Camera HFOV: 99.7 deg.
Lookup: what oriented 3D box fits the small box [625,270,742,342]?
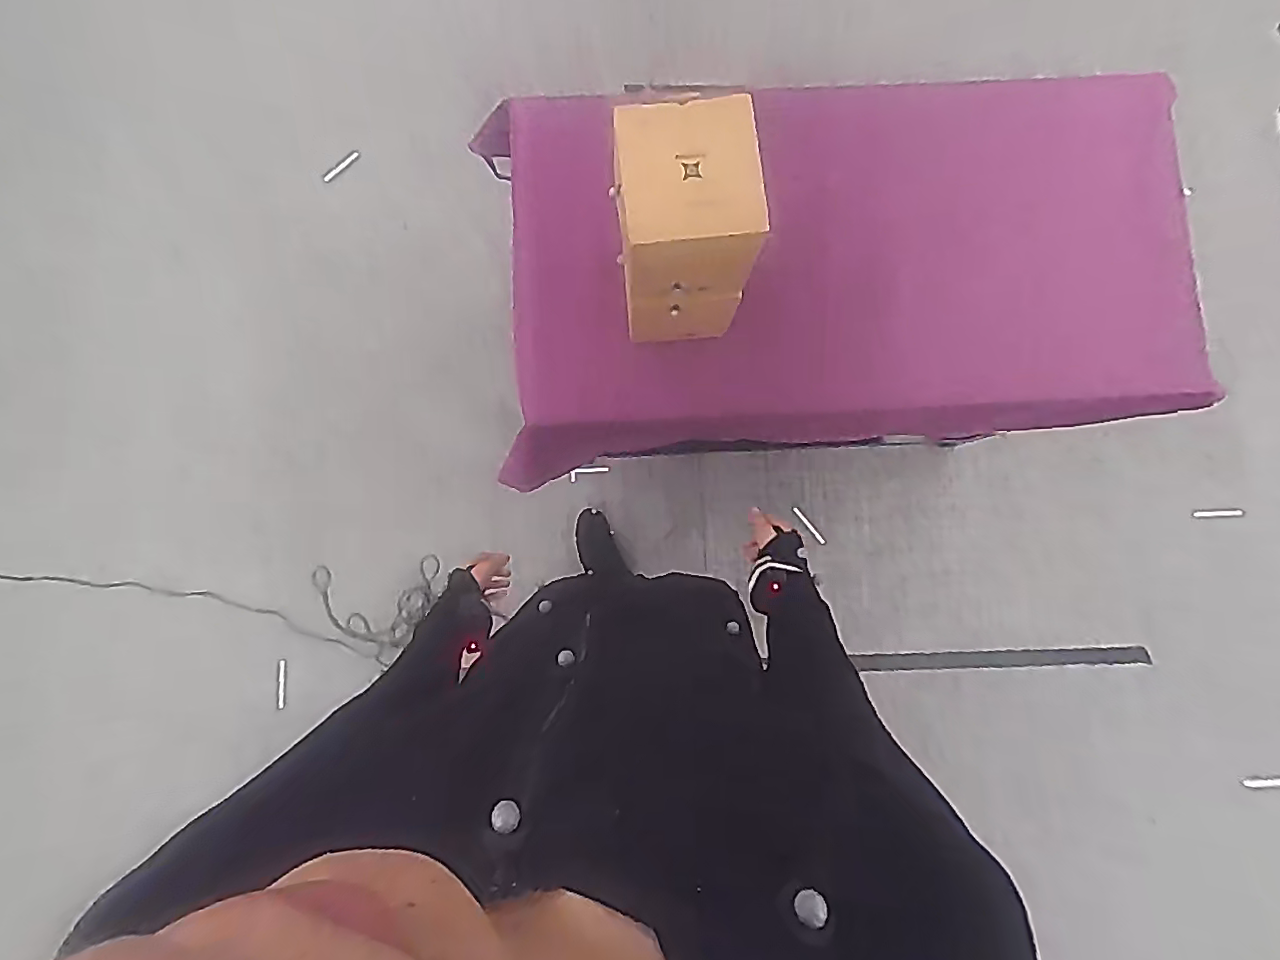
[{"bbox_3d":[0.061,-0.340,0.873,0.168,0.176,0.179,-4,85,-1],"label":"small box"}]

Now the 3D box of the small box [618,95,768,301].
[{"bbox_3d":[0.058,-0.357,0.710,0.168,0.176,0.179,-6,85,-1],"label":"small box"}]
